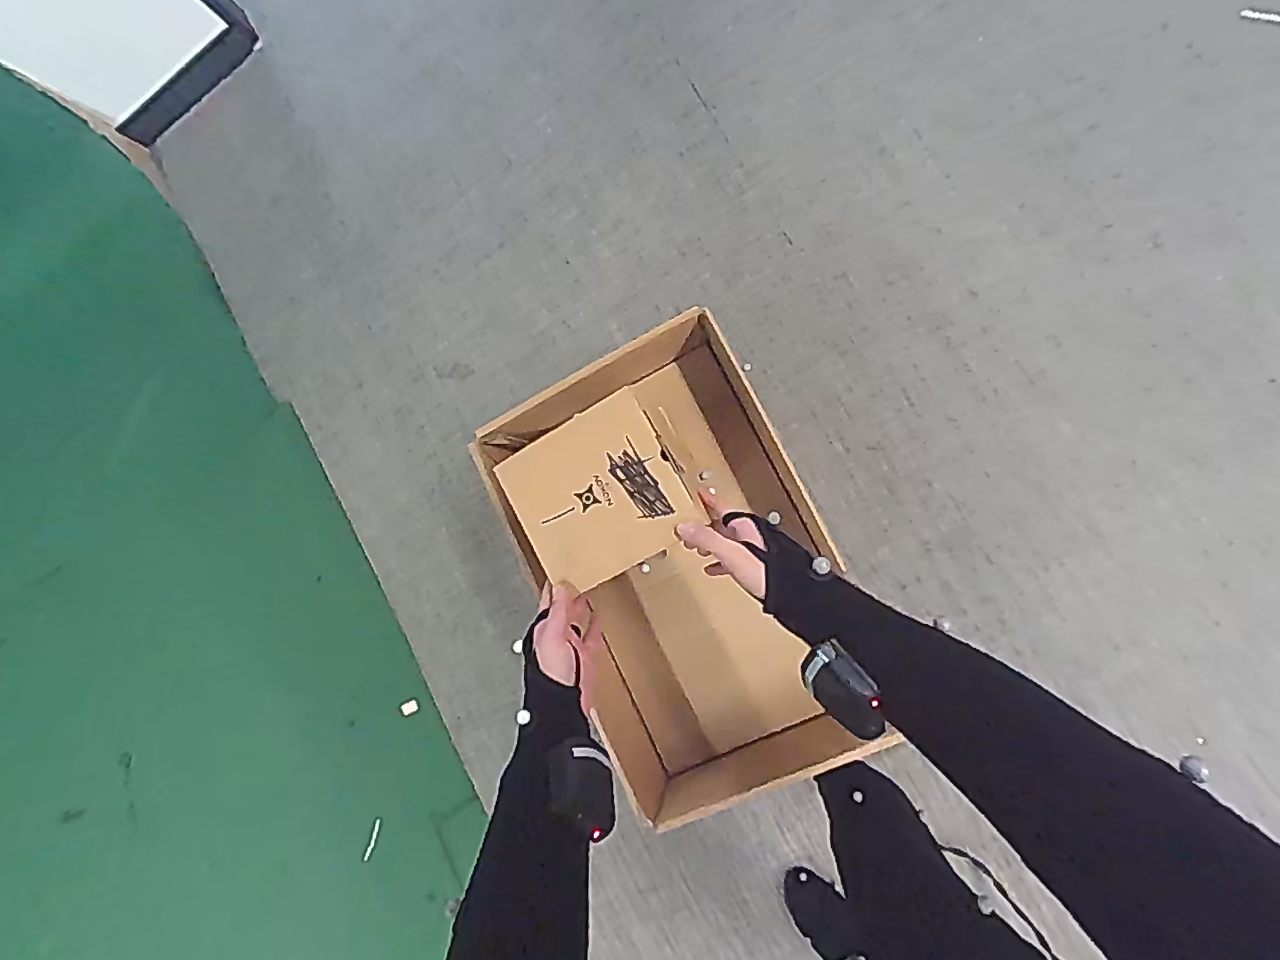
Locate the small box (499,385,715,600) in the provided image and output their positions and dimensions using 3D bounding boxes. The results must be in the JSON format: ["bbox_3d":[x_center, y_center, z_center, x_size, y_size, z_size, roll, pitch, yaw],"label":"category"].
[{"bbox_3d":[-0.024,0.013,0.626,0.179,0.176,0.168,-29,84,11],"label":"small box"}]

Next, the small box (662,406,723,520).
[{"bbox_3d":[0.010,0.011,0.788,0.179,0.176,0.168,-27,84,10],"label":"small box"}]
